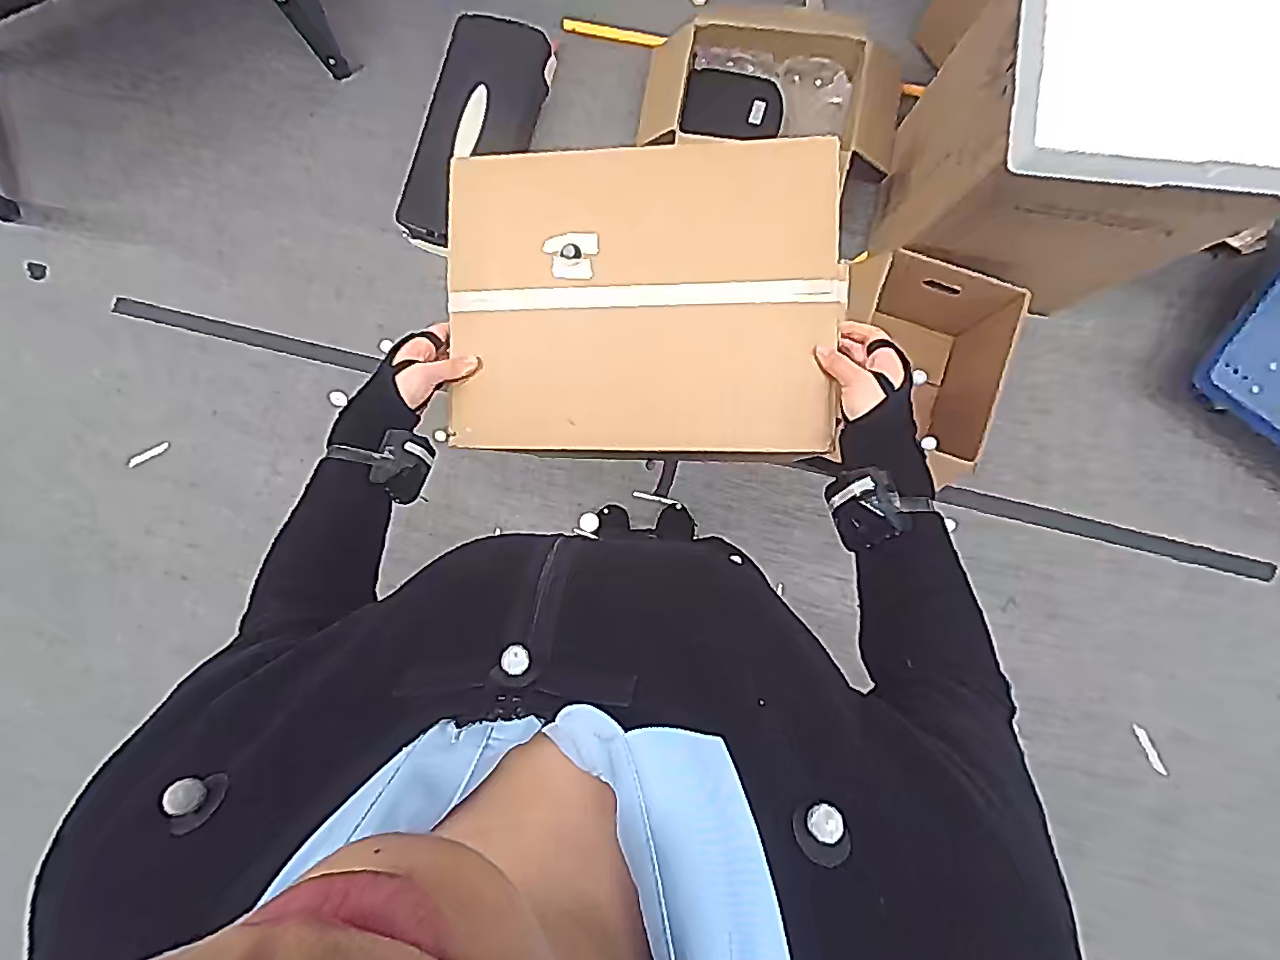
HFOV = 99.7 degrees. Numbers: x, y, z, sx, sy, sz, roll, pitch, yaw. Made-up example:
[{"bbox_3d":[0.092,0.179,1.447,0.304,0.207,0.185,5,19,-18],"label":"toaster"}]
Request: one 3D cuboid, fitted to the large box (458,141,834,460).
[{"bbox_3d":[0.020,-0.186,0.716,0.408,0.320,0.320,1,89,8],"label":"large box"}]
